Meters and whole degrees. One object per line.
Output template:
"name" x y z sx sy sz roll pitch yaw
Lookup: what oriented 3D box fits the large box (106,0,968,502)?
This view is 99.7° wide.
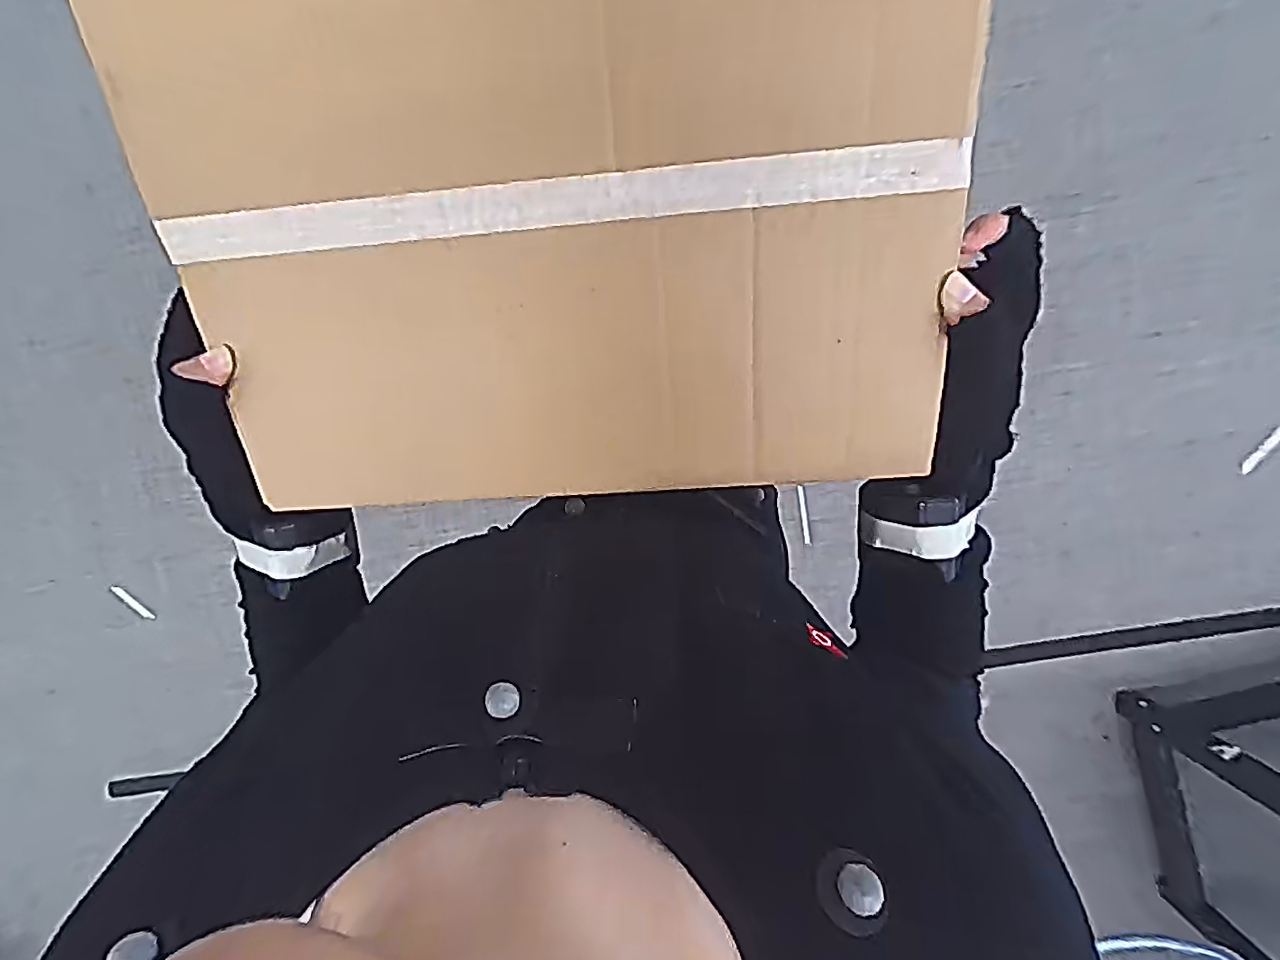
"large box" -0.041 -0.195 0.417 0.408 0.320 0.320 -3 113 4
